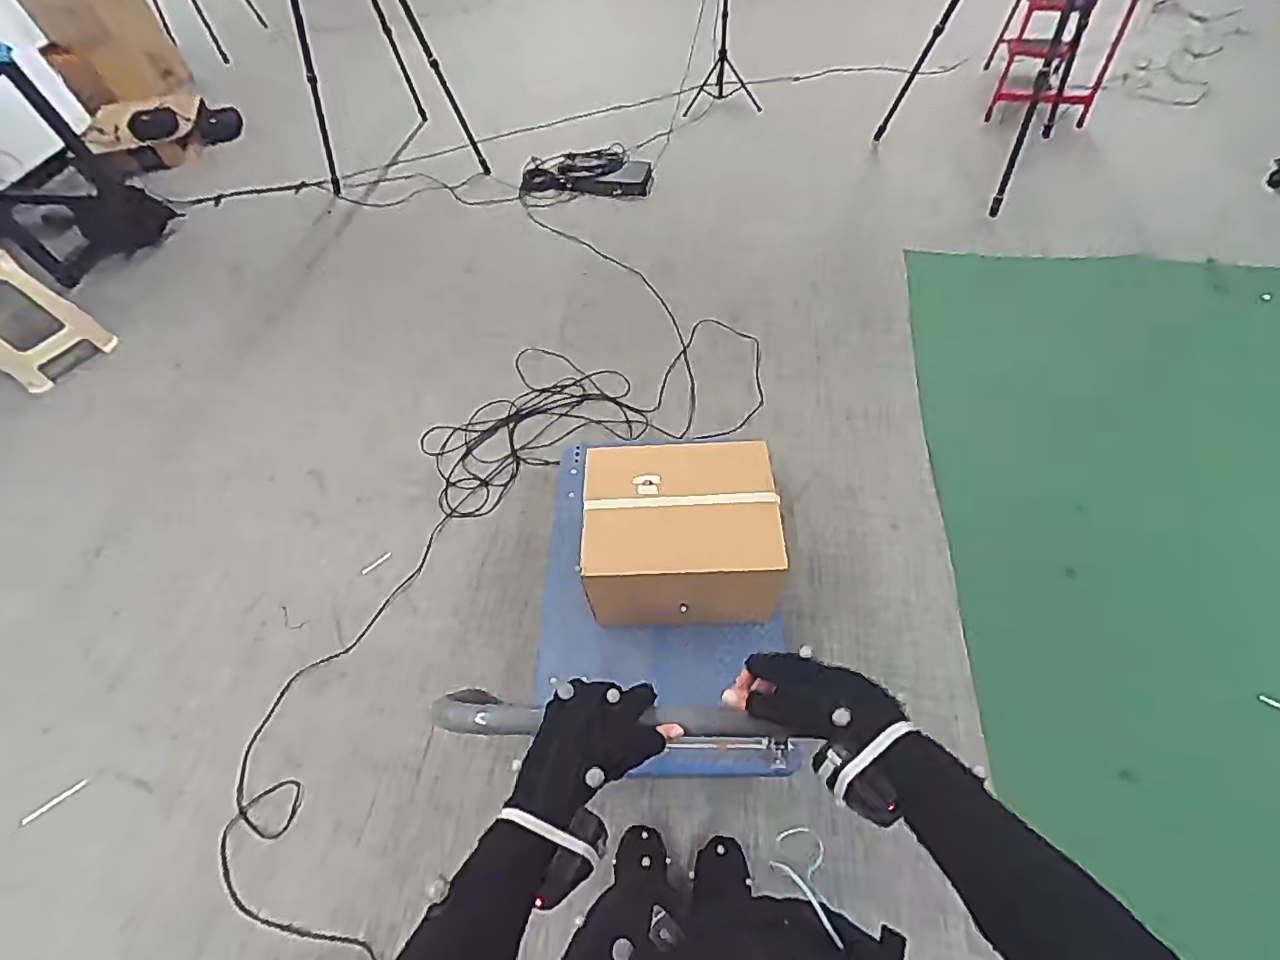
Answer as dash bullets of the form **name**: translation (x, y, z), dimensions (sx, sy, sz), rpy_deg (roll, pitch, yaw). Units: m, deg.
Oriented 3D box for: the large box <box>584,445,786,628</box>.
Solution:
- **large box**: translation (0.098, 0.143, 1.262), dimensions (0.408, 0.320, 0.320), rpy_deg (-3, 55, 4)
